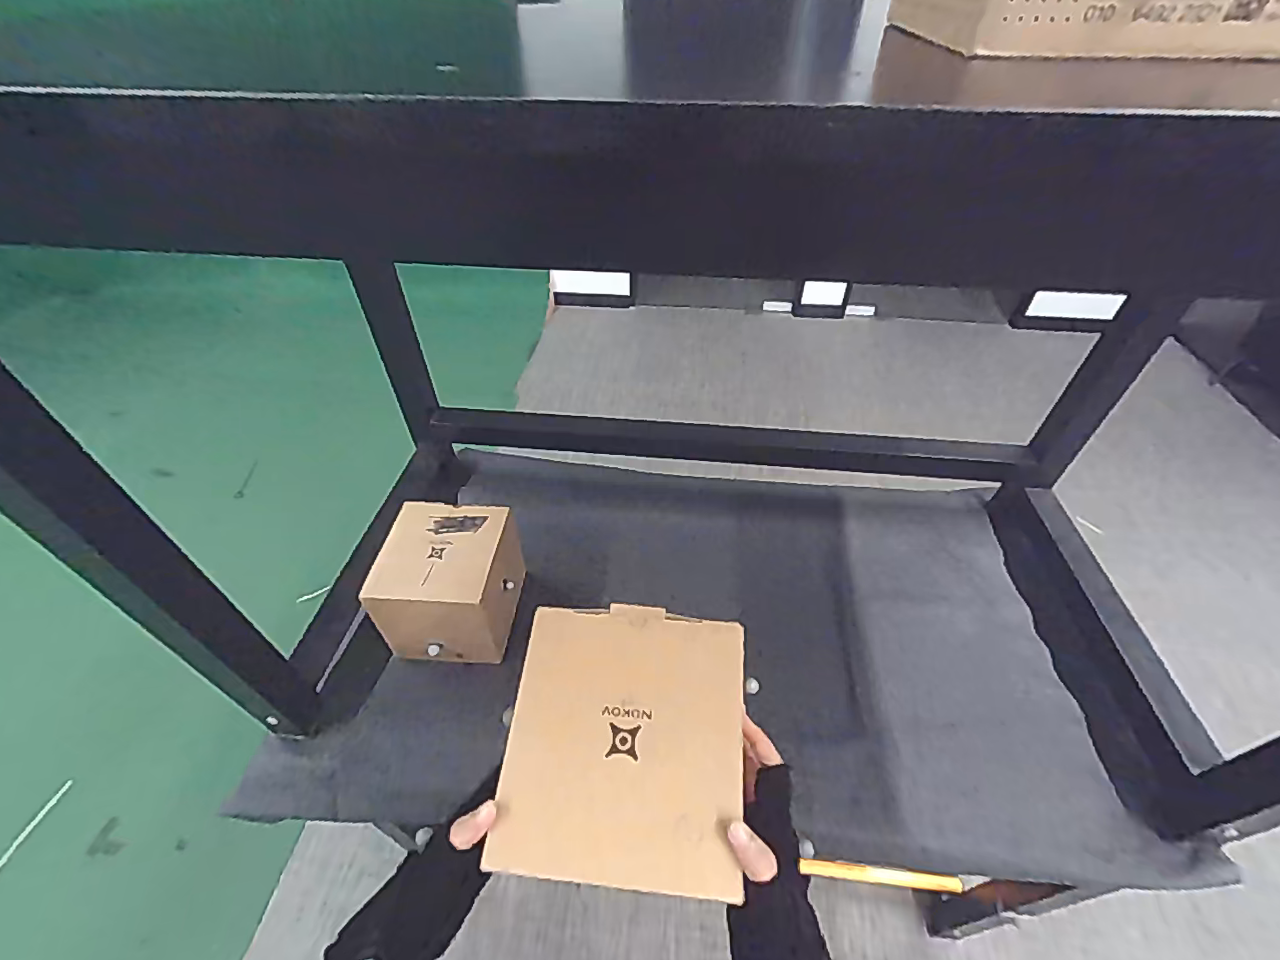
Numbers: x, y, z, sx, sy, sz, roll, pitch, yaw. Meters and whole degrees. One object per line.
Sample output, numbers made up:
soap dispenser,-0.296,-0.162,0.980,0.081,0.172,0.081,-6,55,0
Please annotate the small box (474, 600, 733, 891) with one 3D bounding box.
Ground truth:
small box,-0.012,0.218,0.448,0.168,0.176,0.179,3,55,6

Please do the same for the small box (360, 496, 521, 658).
small box,-0.286,0.147,0.826,0.168,0.176,0.179,3,45,3
